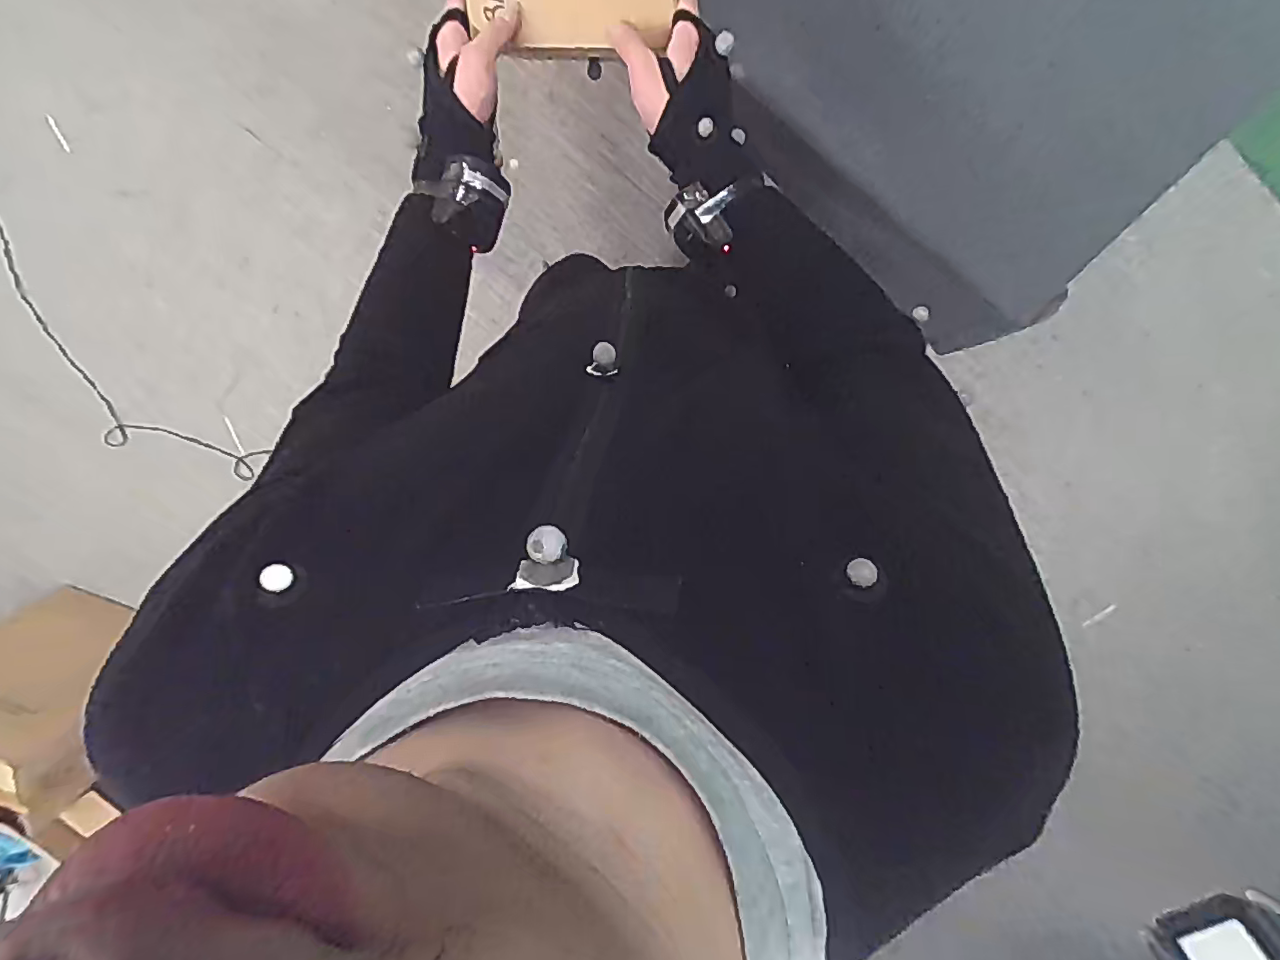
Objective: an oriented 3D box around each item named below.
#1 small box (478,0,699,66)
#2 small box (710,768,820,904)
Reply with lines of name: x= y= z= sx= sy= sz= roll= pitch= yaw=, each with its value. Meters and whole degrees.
small box: x=-0.039 y=-0.466 z=0.461 sx=0.179 sy=0.176 sz=0.168 roll=2 pitch=123 yaw=0
small box: x=0.267 y=0.789 z=1.210 sx=0.168 sy=0.176 sz=0.179 roll=37 pitch=113 yaw=-11
